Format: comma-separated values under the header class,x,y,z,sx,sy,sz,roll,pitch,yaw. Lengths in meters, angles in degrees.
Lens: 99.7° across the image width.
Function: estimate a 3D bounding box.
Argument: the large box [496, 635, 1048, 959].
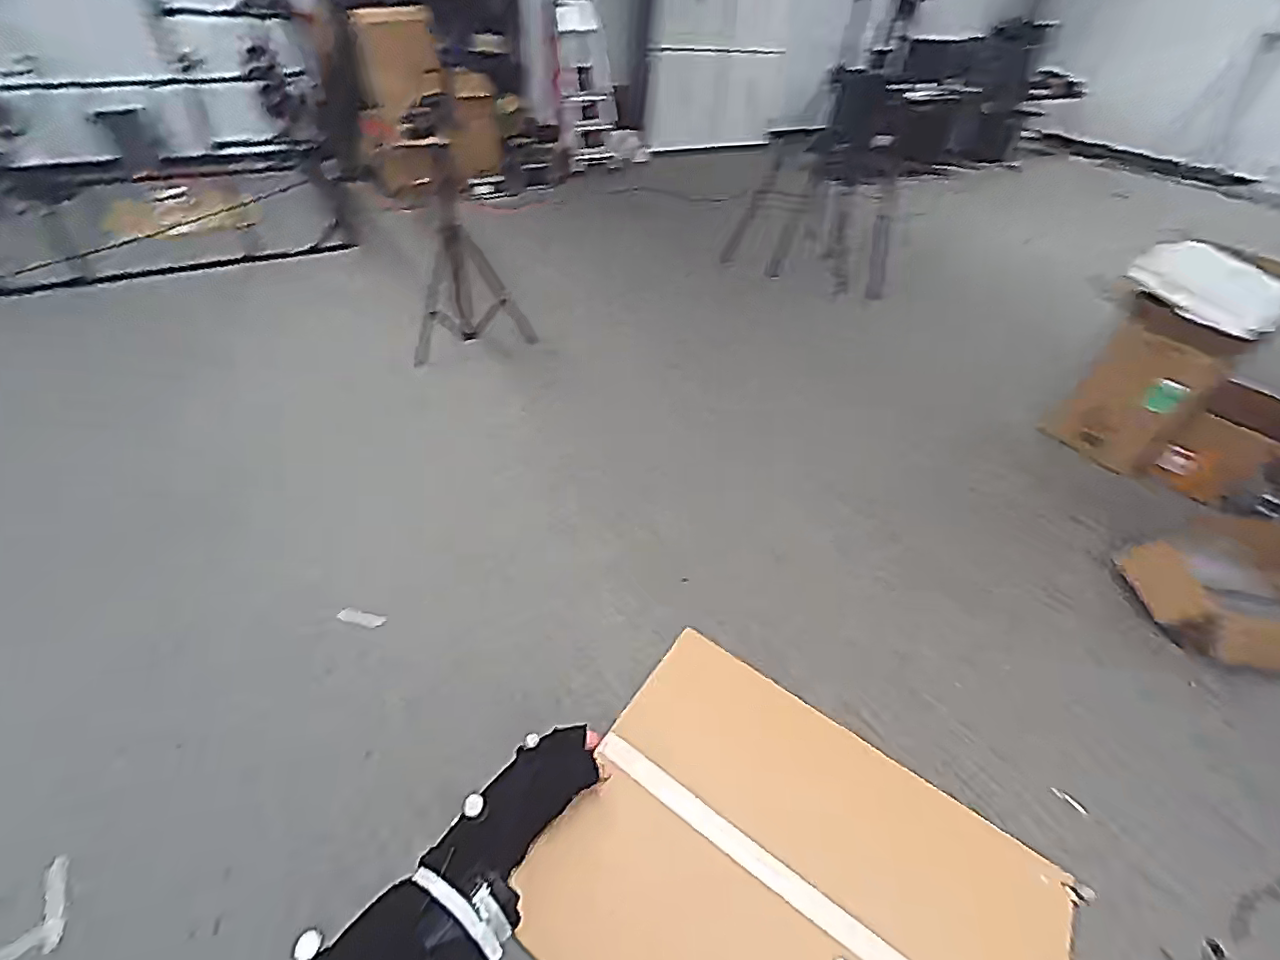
class,x,y,z,sx,sy,sz,roll,pitch,yaw
large box,0.110,0.451,0.570,0.408,0.320,0.320,29,49,20
